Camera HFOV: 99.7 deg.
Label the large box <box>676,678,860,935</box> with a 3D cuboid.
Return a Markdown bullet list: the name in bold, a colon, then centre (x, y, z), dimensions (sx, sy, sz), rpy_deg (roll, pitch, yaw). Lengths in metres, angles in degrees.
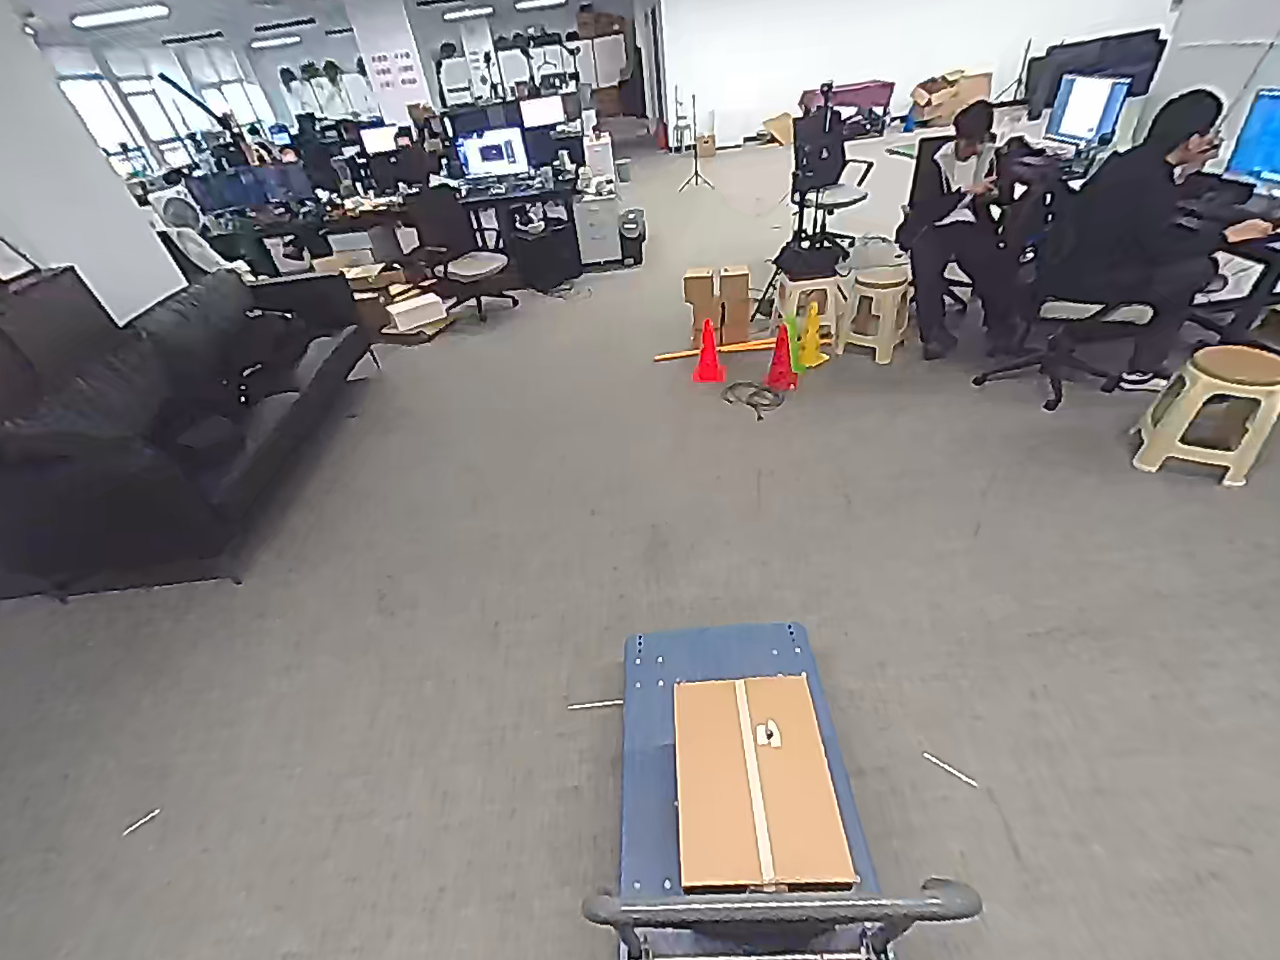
- **large box**: centre (0.255, 0.712, 1.200), dimensions (0.320, 0.320, 0.408), rpy_deg (-5, 38, 4)
